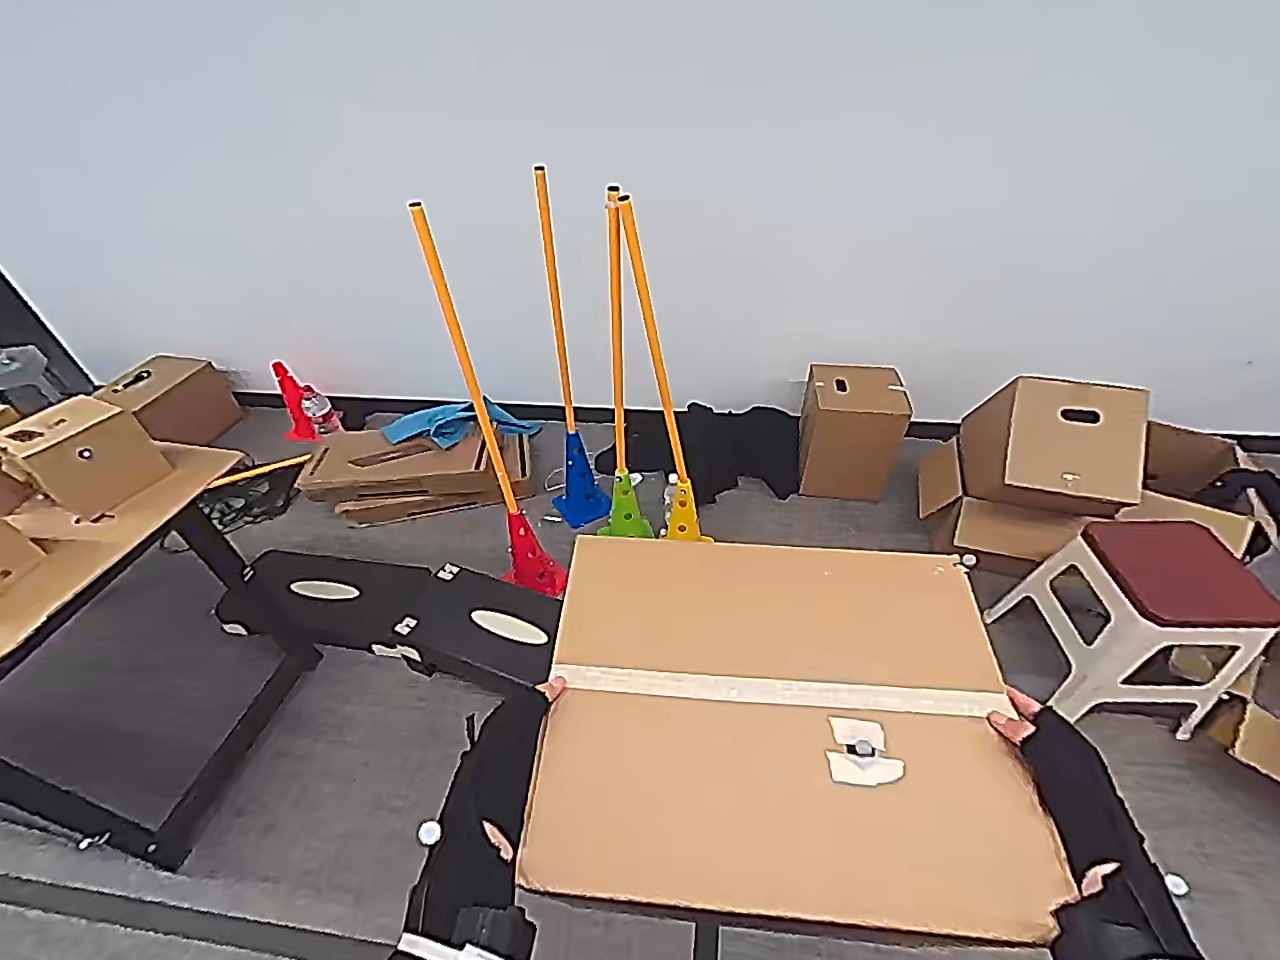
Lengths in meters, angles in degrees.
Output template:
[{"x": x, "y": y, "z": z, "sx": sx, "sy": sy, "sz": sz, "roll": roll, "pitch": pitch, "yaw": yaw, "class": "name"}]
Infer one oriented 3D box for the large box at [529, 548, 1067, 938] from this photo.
[{"x": 0.124, "y": 0.295, "z": 0.607, "sx": 0.408, "sy": 0.320, "sz": 0.320, "roll": 3, "pitch": 51, "yaw": 4, "class": "large box"}]
